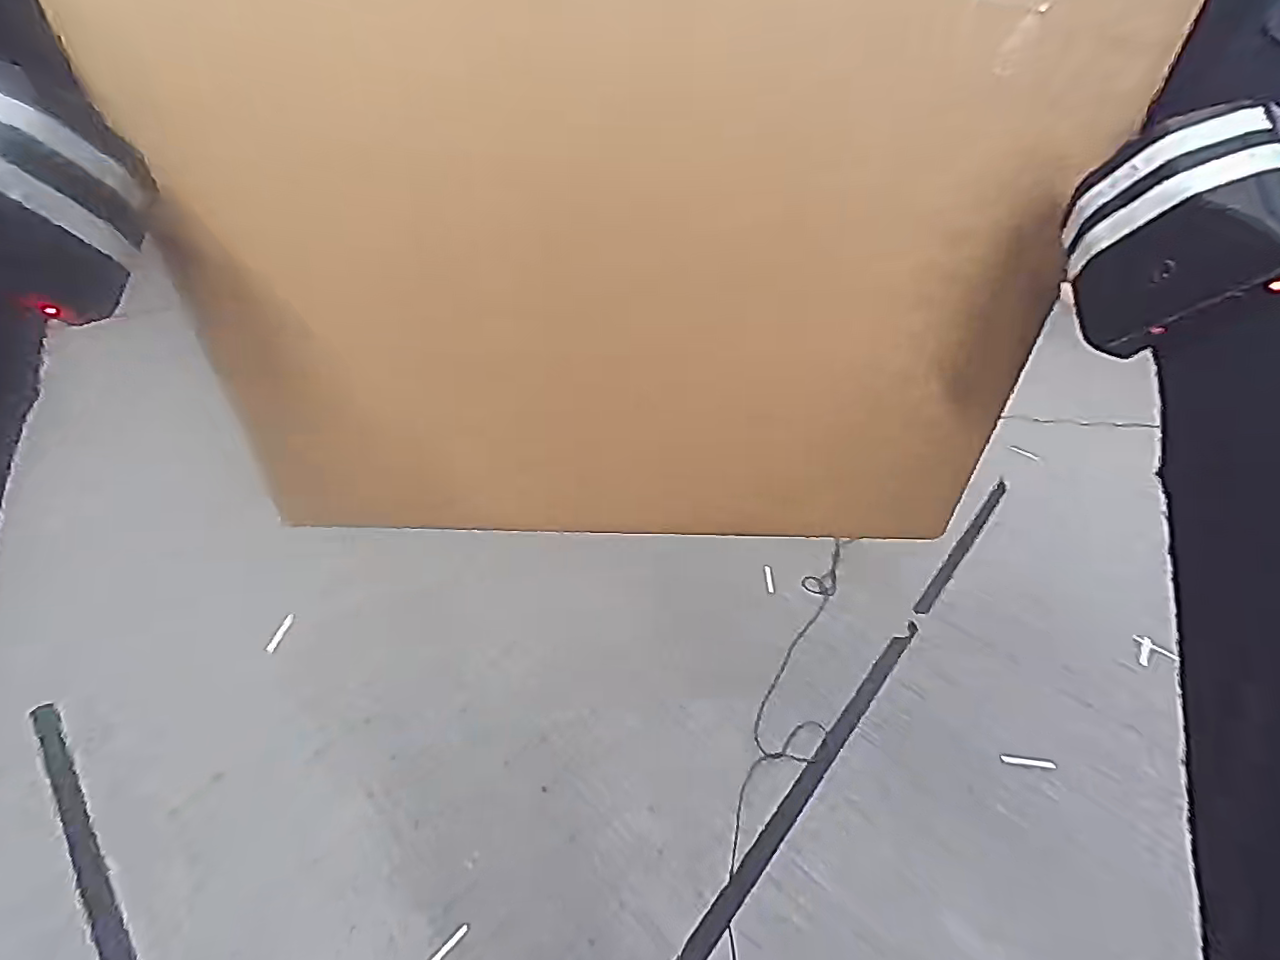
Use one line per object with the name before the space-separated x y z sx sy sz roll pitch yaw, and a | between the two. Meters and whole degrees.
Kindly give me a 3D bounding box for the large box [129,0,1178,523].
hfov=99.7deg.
large box | -0.001 -0.183 0.377 0.408 0.320 0.320 3 36 -2
